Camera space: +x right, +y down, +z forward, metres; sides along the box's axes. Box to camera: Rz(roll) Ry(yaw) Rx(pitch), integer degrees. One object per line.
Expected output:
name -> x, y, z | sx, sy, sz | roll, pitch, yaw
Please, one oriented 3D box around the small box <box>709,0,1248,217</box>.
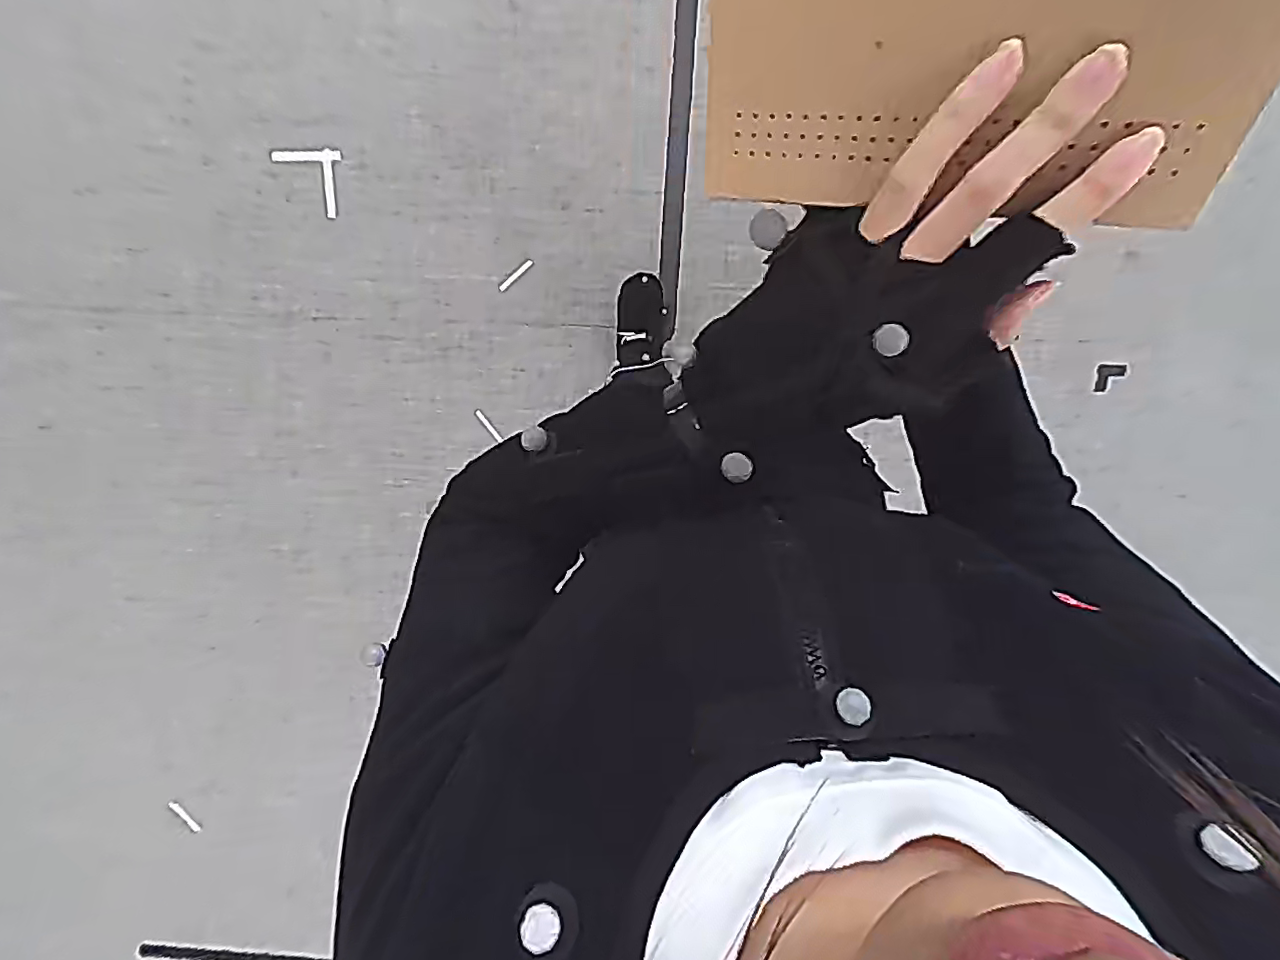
small box -> 0.135, -0.224, 0.229 | 0.179, 0.168, 0.176 | 12, 134, 17
